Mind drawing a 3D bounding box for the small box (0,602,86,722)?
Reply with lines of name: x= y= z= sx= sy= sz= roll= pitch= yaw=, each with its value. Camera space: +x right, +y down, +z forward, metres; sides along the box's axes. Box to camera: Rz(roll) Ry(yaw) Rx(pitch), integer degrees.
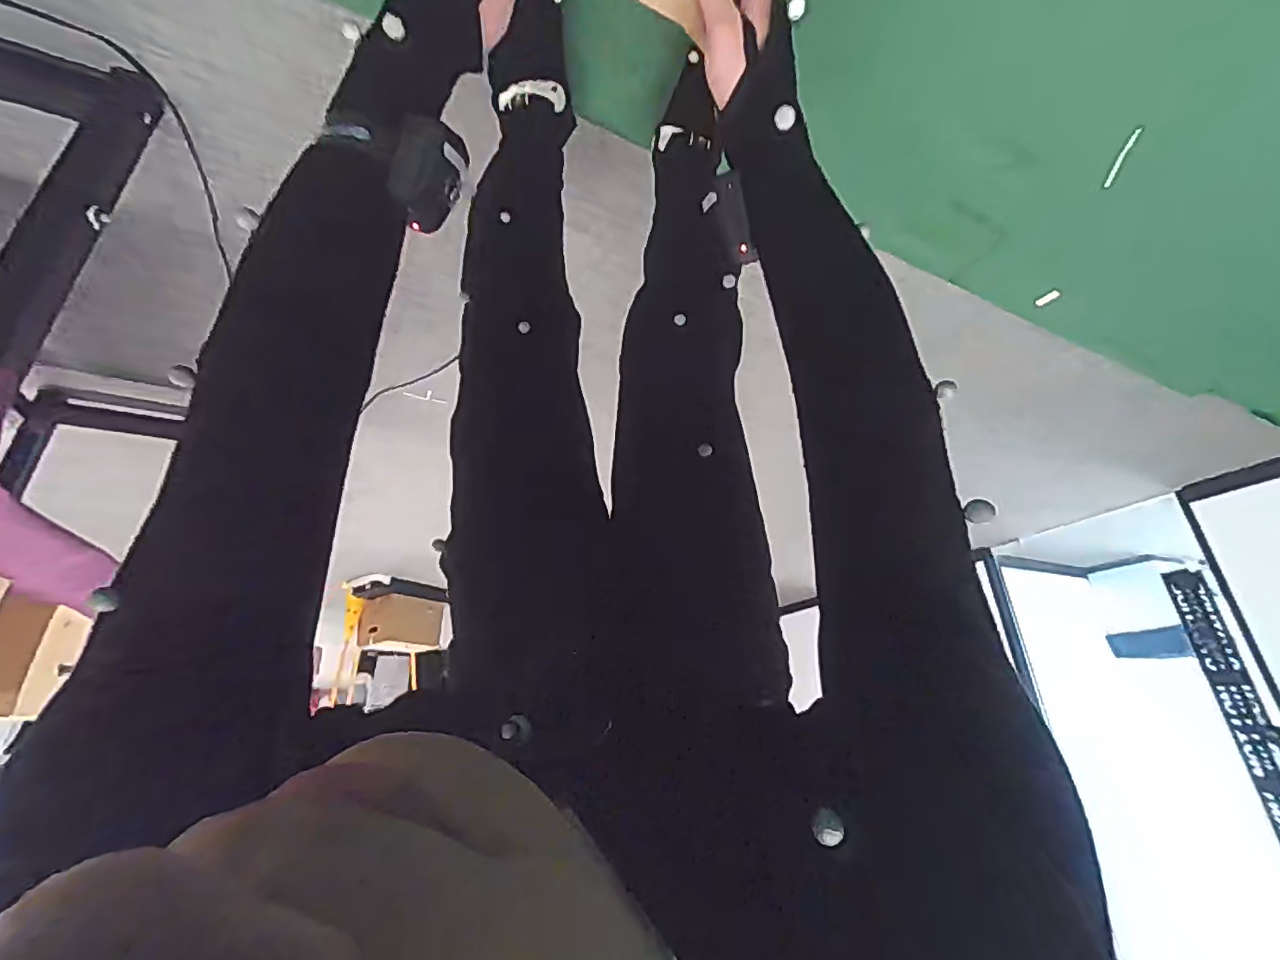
small box: x=-1.013 y=0.280 z=0.834 sx=0.179 sy=0.176 sz=0.168 roll=13 pitch=152 yaw=-25
